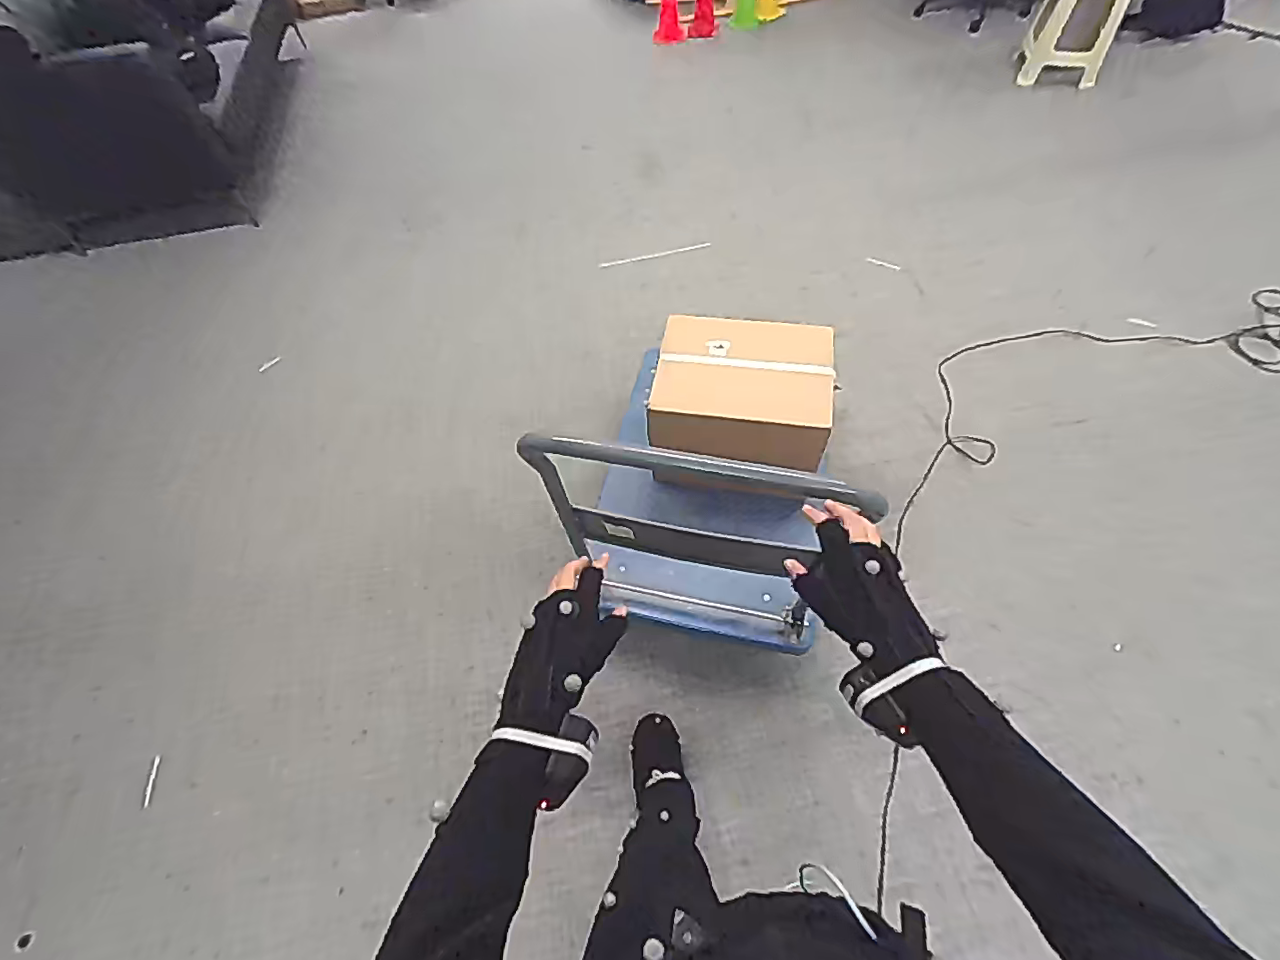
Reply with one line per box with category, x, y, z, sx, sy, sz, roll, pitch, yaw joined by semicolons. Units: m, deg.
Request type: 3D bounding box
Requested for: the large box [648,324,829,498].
large box;0.251;-0.173;1.391;0.408;0.320;0.320;6;58;10
